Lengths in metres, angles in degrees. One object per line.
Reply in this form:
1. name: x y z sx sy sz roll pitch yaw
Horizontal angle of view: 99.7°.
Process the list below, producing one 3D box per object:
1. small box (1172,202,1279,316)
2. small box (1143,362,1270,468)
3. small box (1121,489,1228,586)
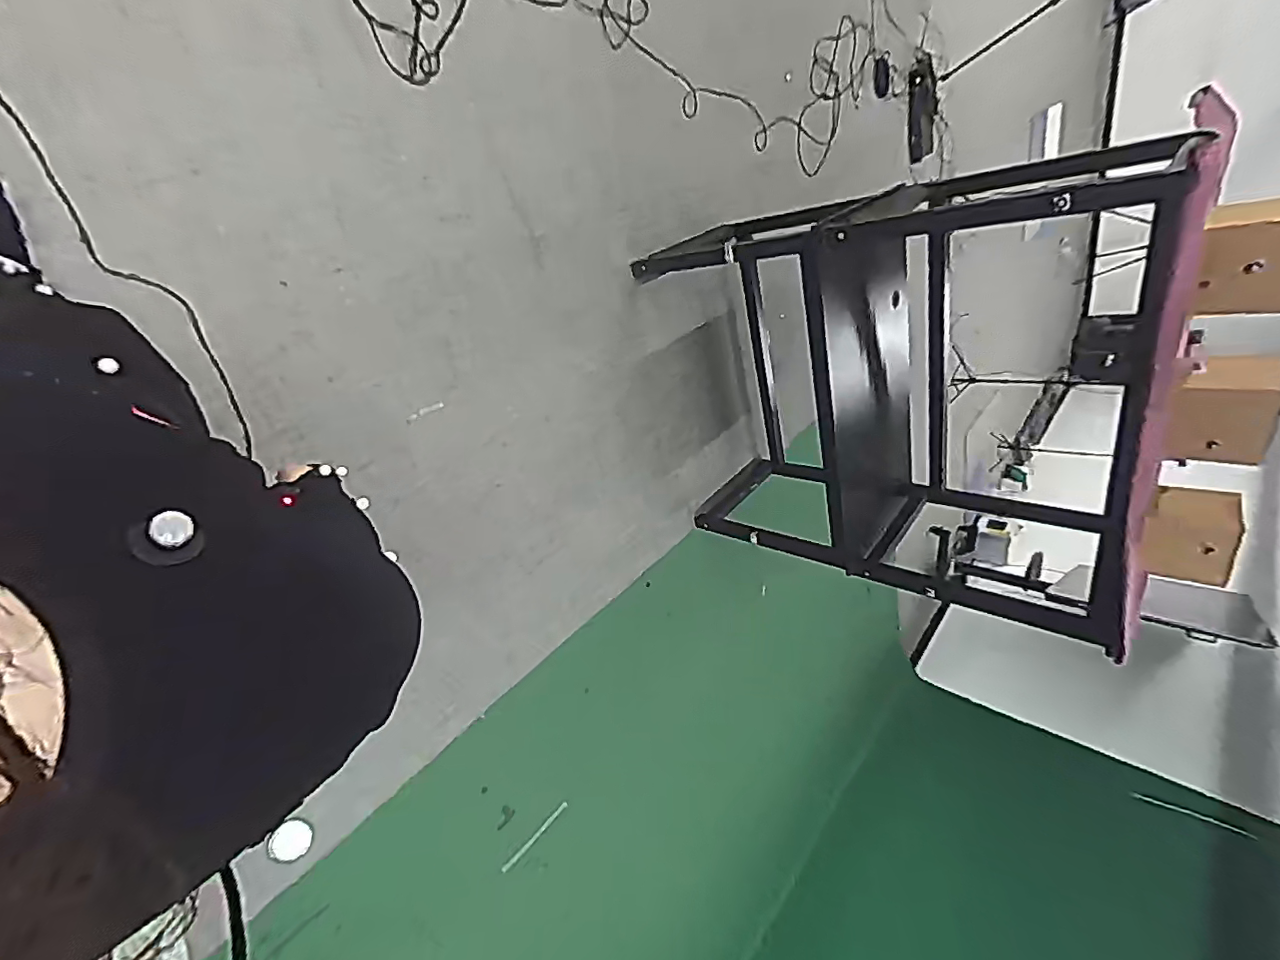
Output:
1. small box: 1.152 -0.418 1.030 0.179 0.176 0.168 -37 126 -33
2. small box: 1.234 -0.150 1.187 0.168 0.176 0.179 -38 124 -34
3. small box: 1.337 0.135 1.360 0.168 0.176 0.179 -37 124 -37
